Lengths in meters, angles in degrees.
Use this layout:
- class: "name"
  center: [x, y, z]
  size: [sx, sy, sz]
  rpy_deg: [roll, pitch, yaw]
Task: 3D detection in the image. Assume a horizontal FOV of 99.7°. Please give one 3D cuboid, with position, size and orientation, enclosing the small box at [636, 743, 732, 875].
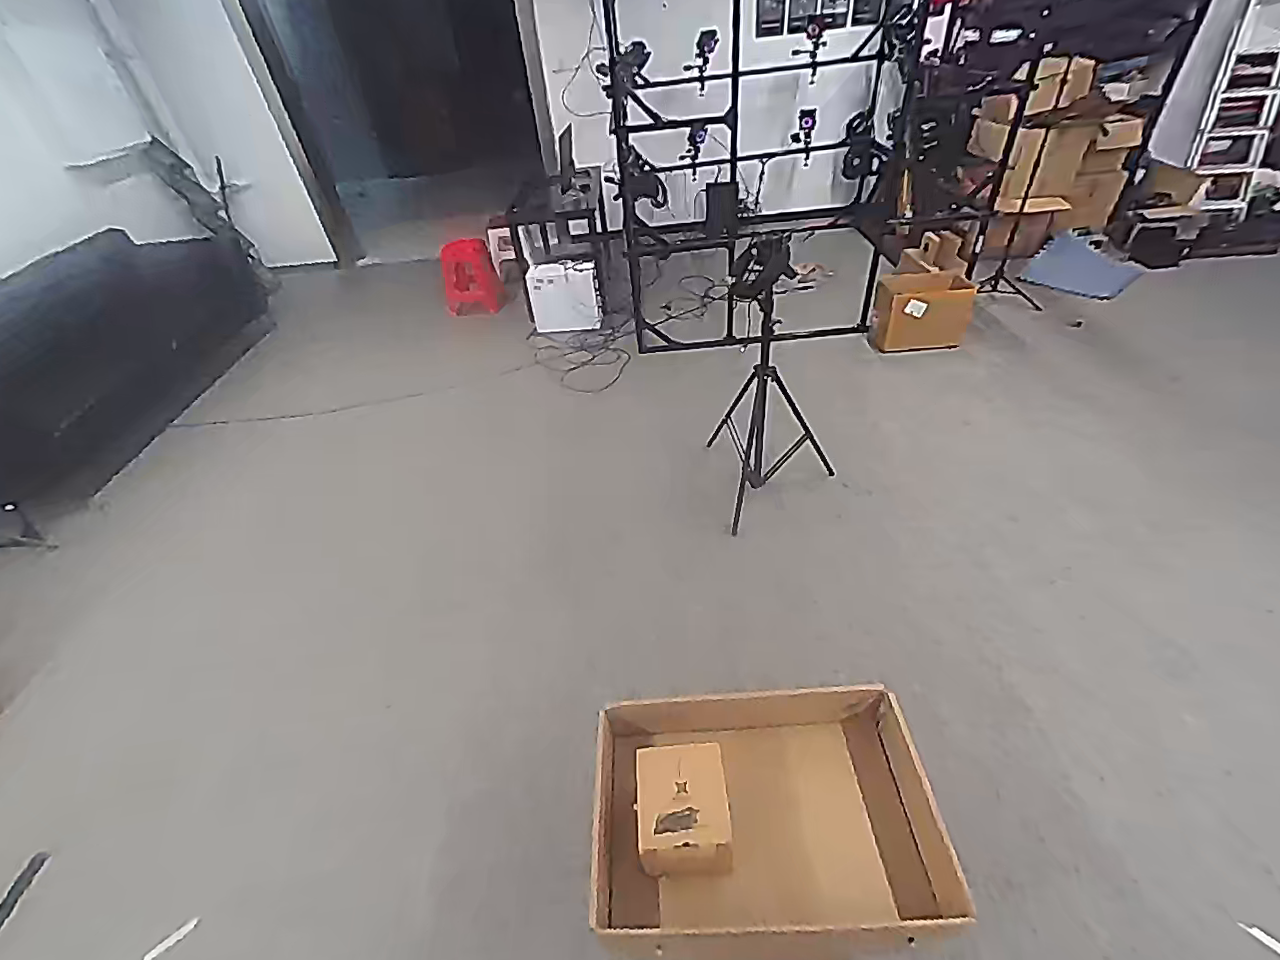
- class: "small box"
  center: [0.084, 0.634, 1.036]
  size: [0.168, 0.176, 0.179]
  rpy_deg: [-6, 39, 3]
